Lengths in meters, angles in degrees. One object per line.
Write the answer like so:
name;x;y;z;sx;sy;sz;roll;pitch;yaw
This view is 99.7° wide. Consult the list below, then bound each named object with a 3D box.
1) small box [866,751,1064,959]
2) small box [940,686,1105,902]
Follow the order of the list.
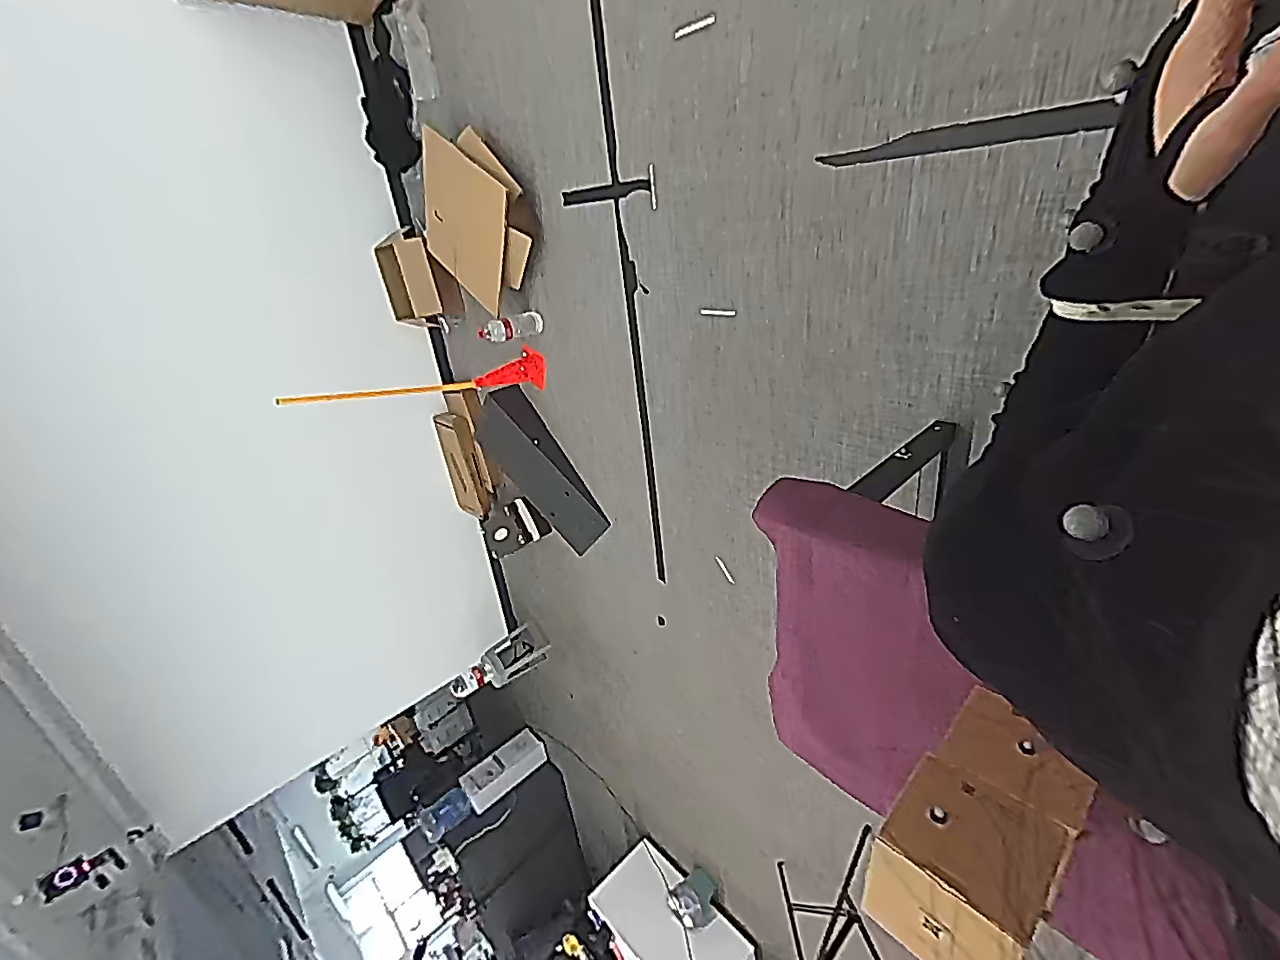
small box;0.421;0.503;0.707;0.168;0.176;0.179;23;129;43
small box;0.546;0.442;0.791;0.168;0.176;0.179;21;127;44
